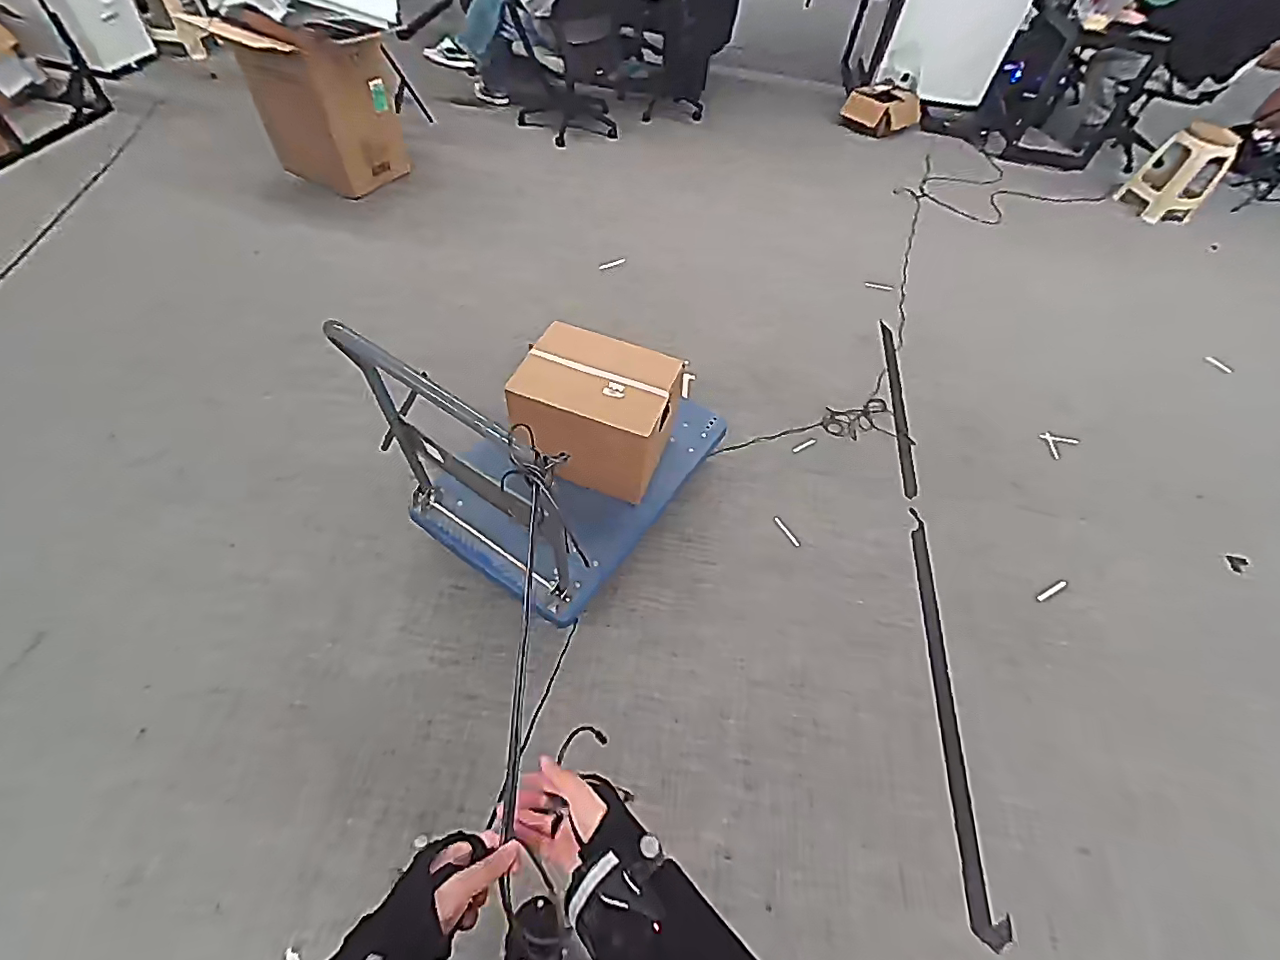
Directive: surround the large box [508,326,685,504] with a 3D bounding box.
[{"bbox_3d":[-0.124,-0.187,1.574,0.408,0.320,0.320,20,55,8],"label":"large box"}]
